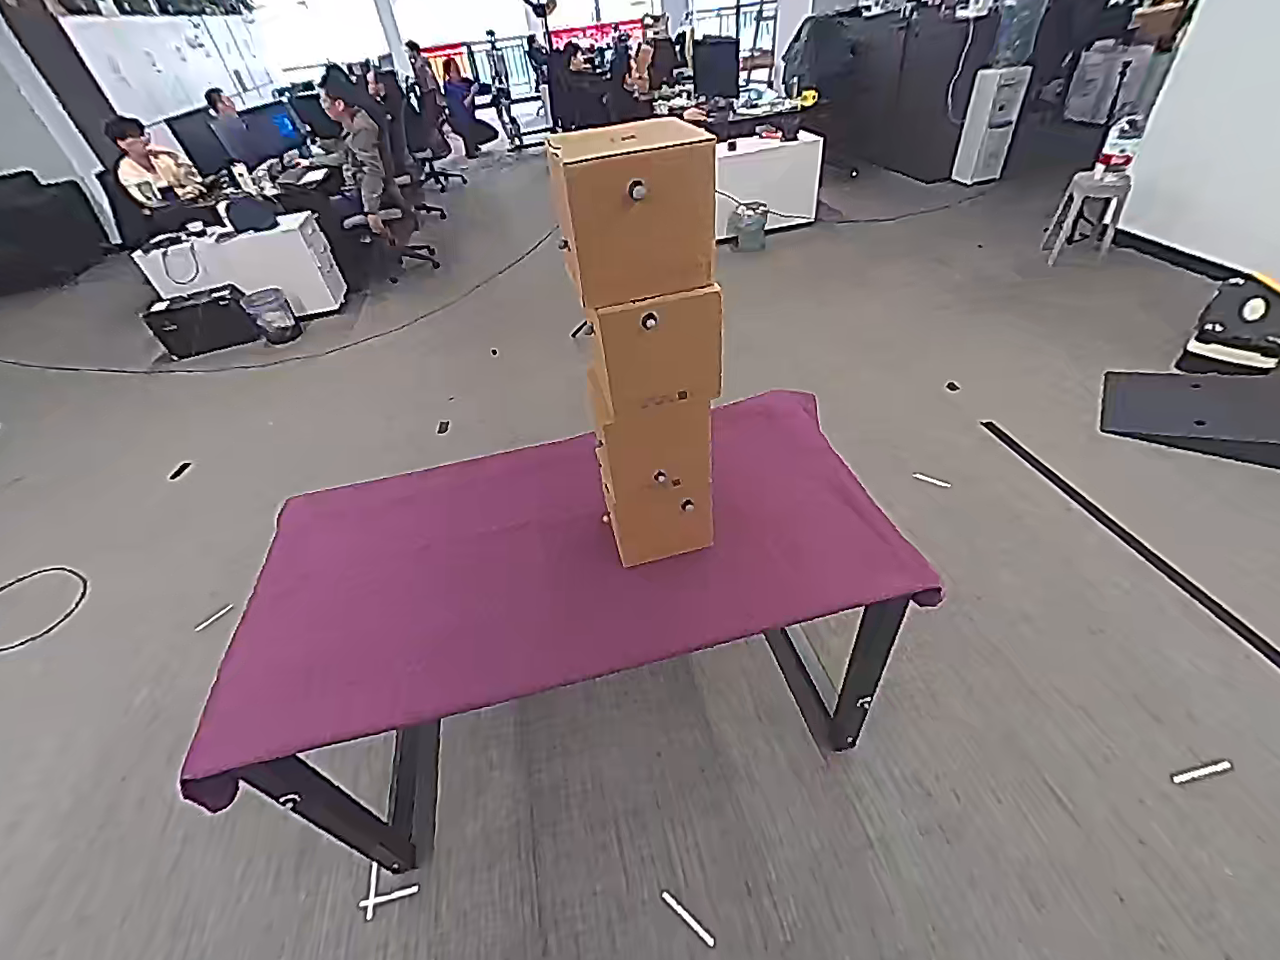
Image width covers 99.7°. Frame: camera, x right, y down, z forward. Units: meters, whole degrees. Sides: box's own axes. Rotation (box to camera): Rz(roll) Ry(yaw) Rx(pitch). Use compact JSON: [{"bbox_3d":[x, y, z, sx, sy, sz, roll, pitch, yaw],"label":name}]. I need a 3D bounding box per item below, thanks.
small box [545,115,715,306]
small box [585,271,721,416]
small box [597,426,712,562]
[{"bbox_3d":[-0.013,-0.346,0.695,0.179,0.176,0.168,-14,42,-7],"label":"small box"},{"bbox_3d":[0.013,-0.219,0.795,0.168,0.176,0.179,-14,42,-6],"label":"small box"},{"bbox_3d":[0.028,0.027,1.012,0.179,0.176,0.168,-14,42,-6],"label":"small box"}]
